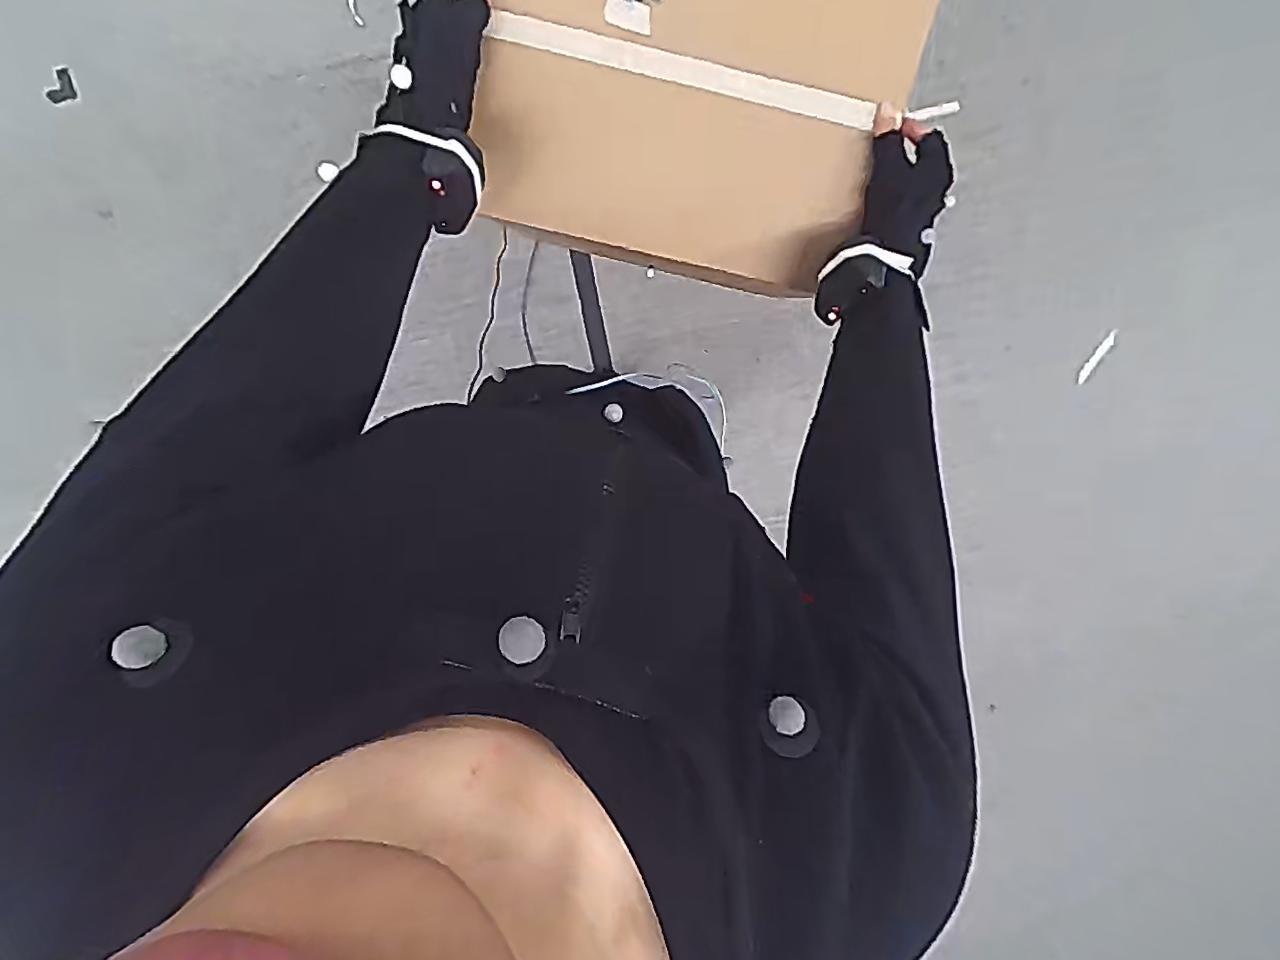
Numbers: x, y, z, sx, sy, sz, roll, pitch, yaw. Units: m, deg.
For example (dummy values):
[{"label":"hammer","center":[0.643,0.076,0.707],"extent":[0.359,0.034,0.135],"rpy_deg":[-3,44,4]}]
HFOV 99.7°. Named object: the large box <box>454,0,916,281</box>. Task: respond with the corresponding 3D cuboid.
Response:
[{"label":"large box","center":[0.042,-0.434,0.643],"extent":[0.408,0.320,0.320],"rpy_deg":[12,108,-2]}]
